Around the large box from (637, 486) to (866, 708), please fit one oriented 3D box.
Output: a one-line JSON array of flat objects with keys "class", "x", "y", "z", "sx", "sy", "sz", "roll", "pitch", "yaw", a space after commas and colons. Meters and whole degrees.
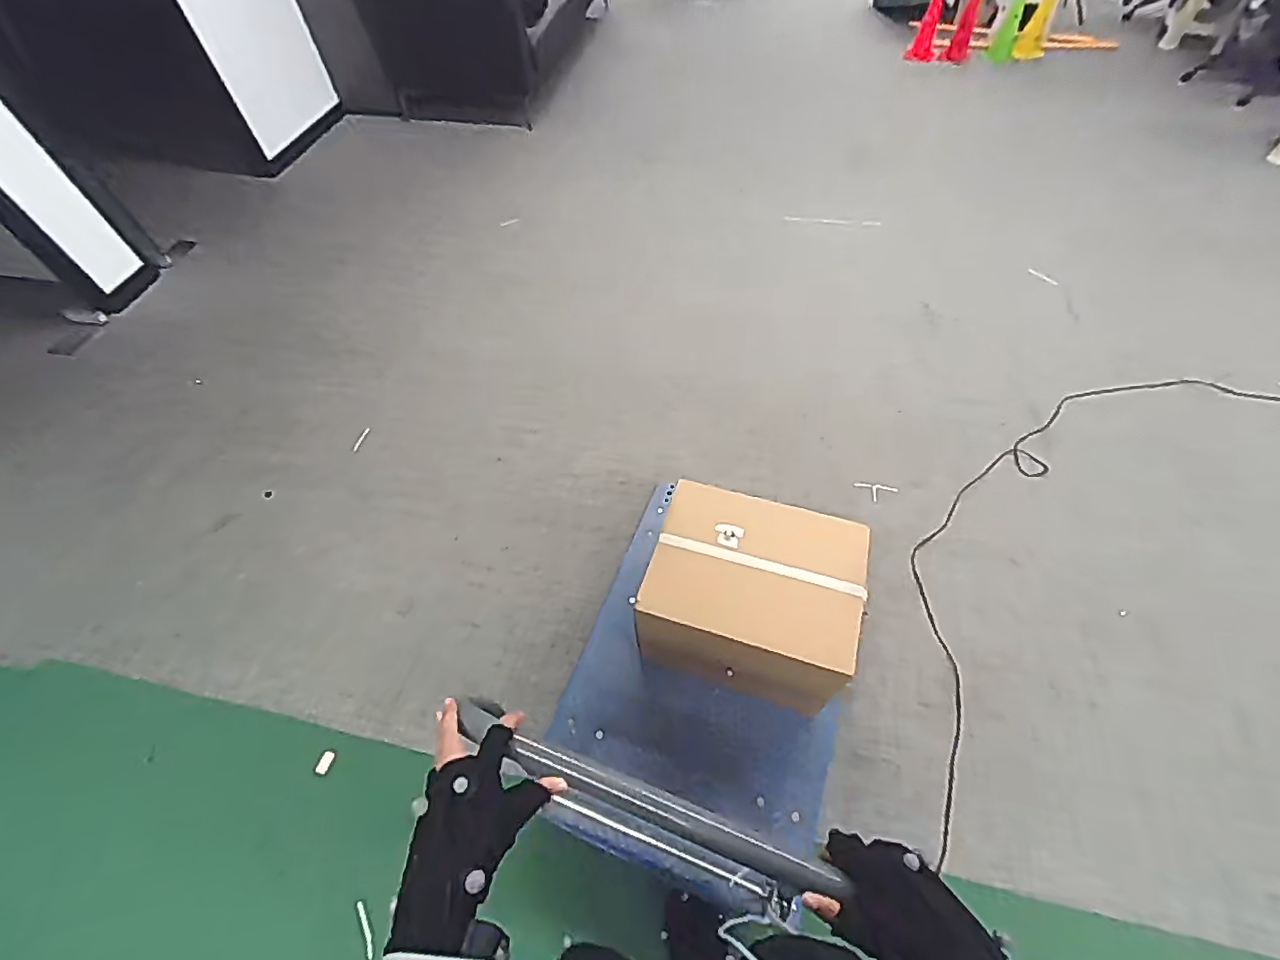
[{"class": "large box", "x": 0.238, "y": 0.258, "z": 1.178, "sx": 0.408, "sy": 0.320, "sz": 0.320, "roll": 13, "pitch": 56, "yaw": 13}]
